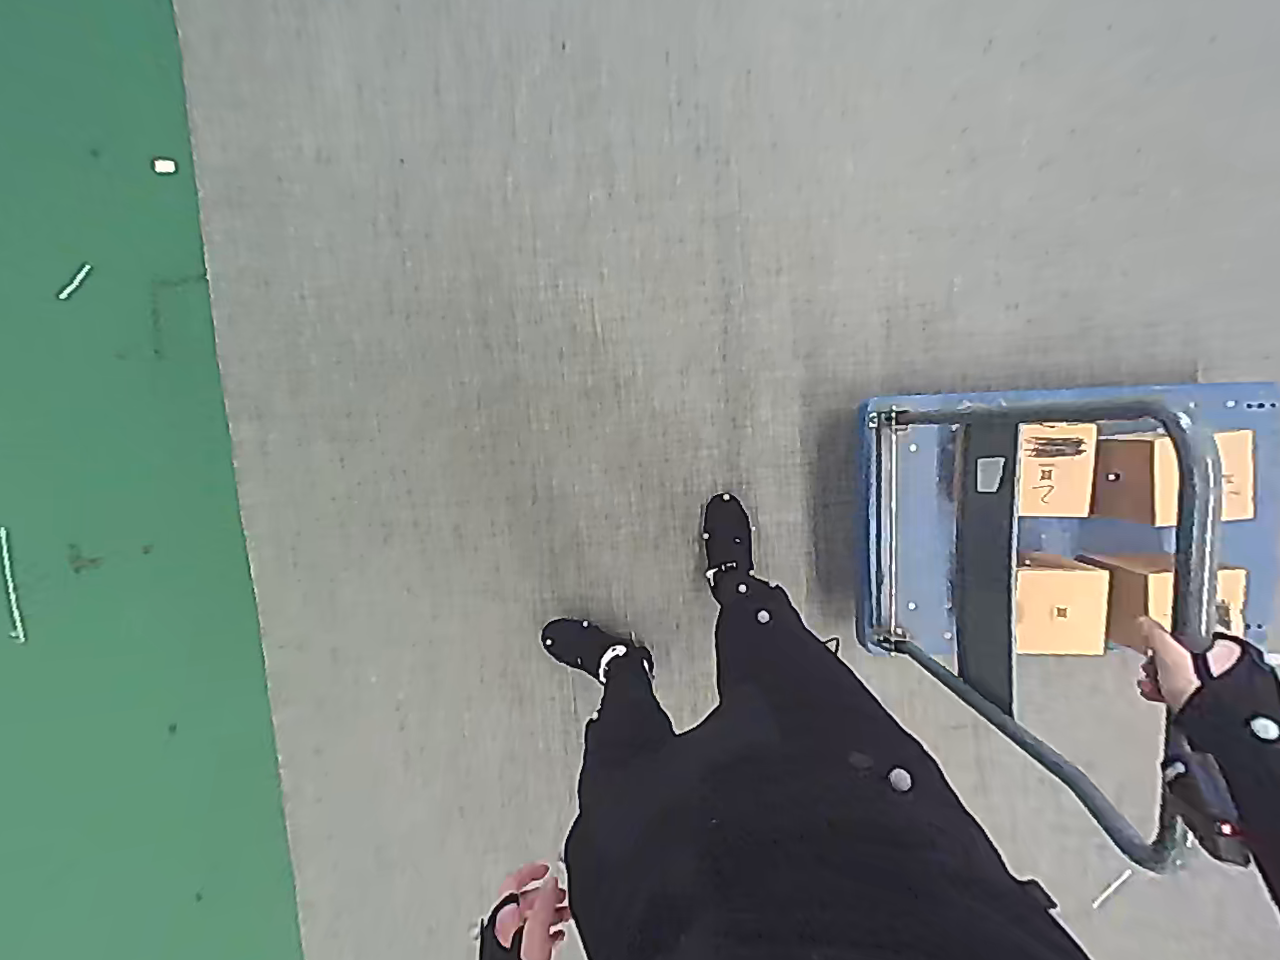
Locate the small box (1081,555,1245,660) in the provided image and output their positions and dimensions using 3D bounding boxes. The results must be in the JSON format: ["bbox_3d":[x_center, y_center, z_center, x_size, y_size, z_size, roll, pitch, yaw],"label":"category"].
[{"bbox_3d":[1.043,0.251,1.093,0.179,0.176,0.168,-3,94,3],"label":"small box"}]

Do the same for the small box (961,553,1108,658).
[{"bbox_3d":[0.794,0.248,1.104,0.179,0.176,0.168,1,95,3],"label":"small box"}]

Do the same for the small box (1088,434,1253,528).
[{"bbox_3d":[1.035,-0.003,1.071,0.179,0.176,0.168,-5,95,3],"label":"small box"}]
